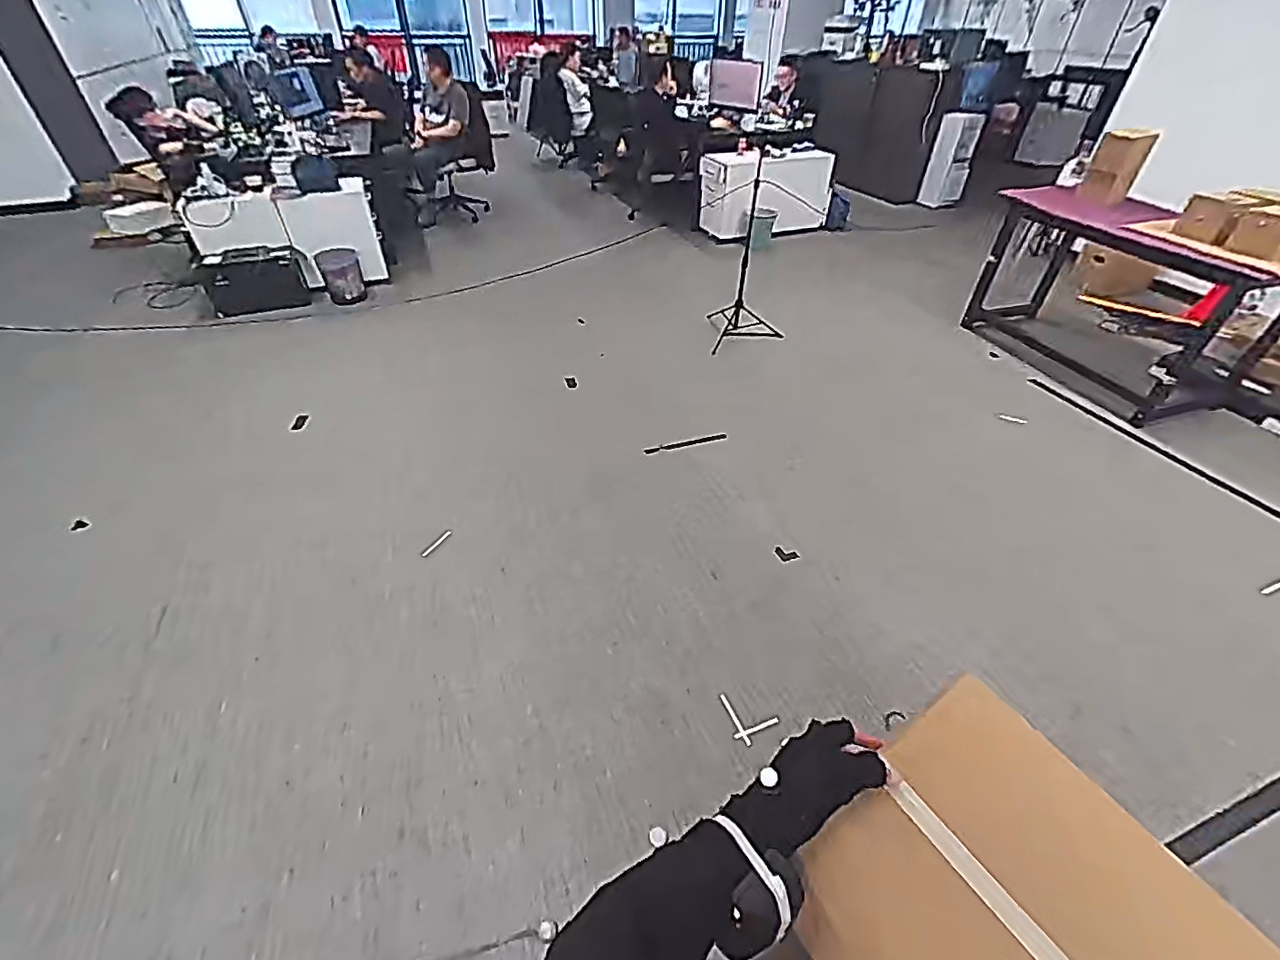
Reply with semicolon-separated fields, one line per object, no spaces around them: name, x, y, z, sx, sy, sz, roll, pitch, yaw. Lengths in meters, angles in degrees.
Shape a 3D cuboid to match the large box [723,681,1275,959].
large box;0.343;0.501;0.548;0.320;0.320;0.408;-29;56;-21
